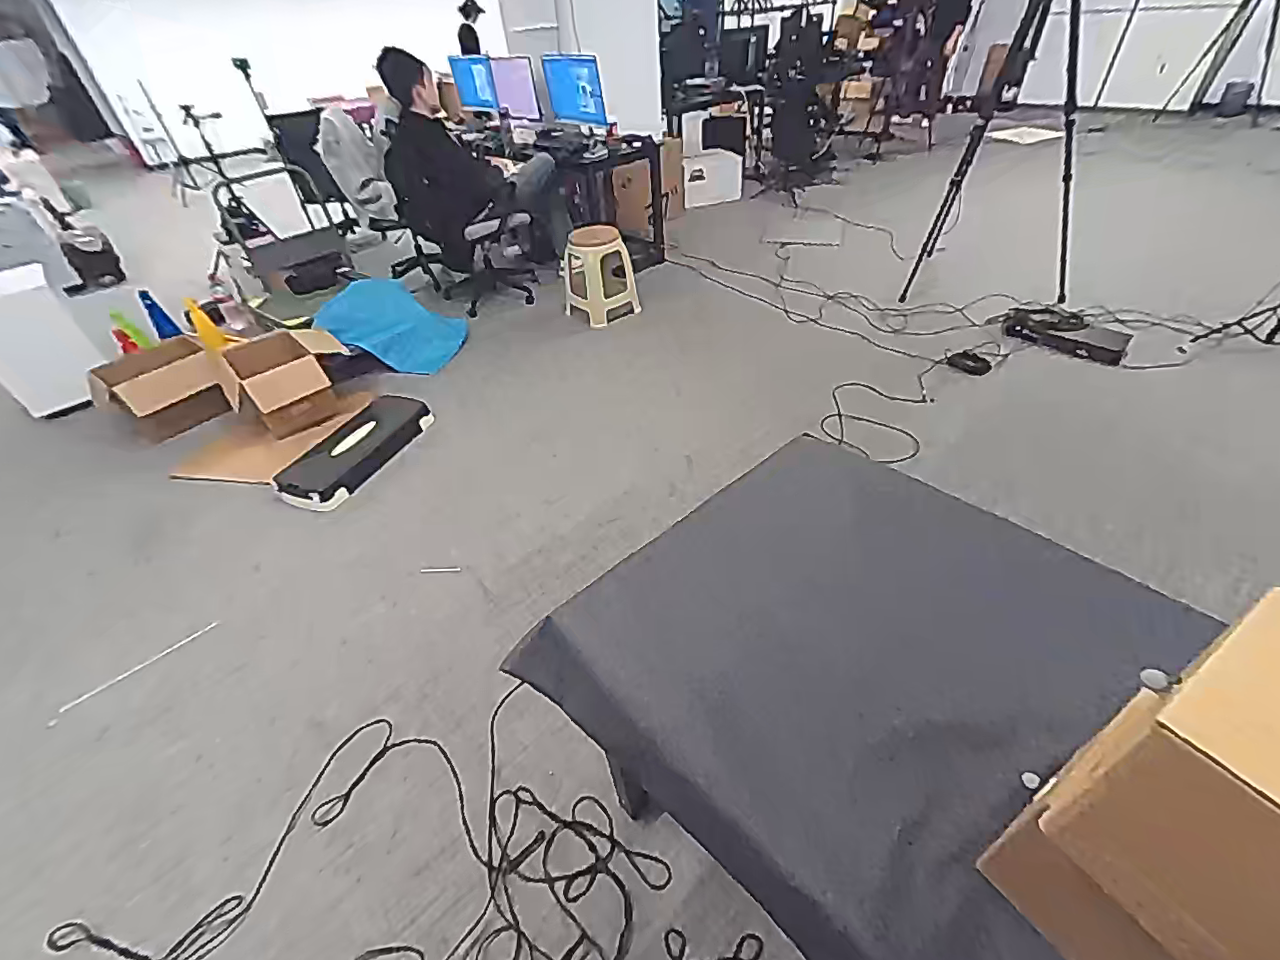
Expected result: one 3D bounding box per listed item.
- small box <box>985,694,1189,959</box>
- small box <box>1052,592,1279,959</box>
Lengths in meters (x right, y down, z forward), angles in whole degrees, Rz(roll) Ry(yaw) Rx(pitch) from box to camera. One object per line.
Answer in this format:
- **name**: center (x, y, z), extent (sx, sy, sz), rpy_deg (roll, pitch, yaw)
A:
- **small box**: center (0.432, 0.323, 0.440), extent (0.168, 0.176, 0.179), rpy_deg (-25, 43, -23)
- **small box**: center (0.405, 0.209, 0.325), extent (0.168, 0.176, 0.179), rpy_deg (-24, 45, -22)
